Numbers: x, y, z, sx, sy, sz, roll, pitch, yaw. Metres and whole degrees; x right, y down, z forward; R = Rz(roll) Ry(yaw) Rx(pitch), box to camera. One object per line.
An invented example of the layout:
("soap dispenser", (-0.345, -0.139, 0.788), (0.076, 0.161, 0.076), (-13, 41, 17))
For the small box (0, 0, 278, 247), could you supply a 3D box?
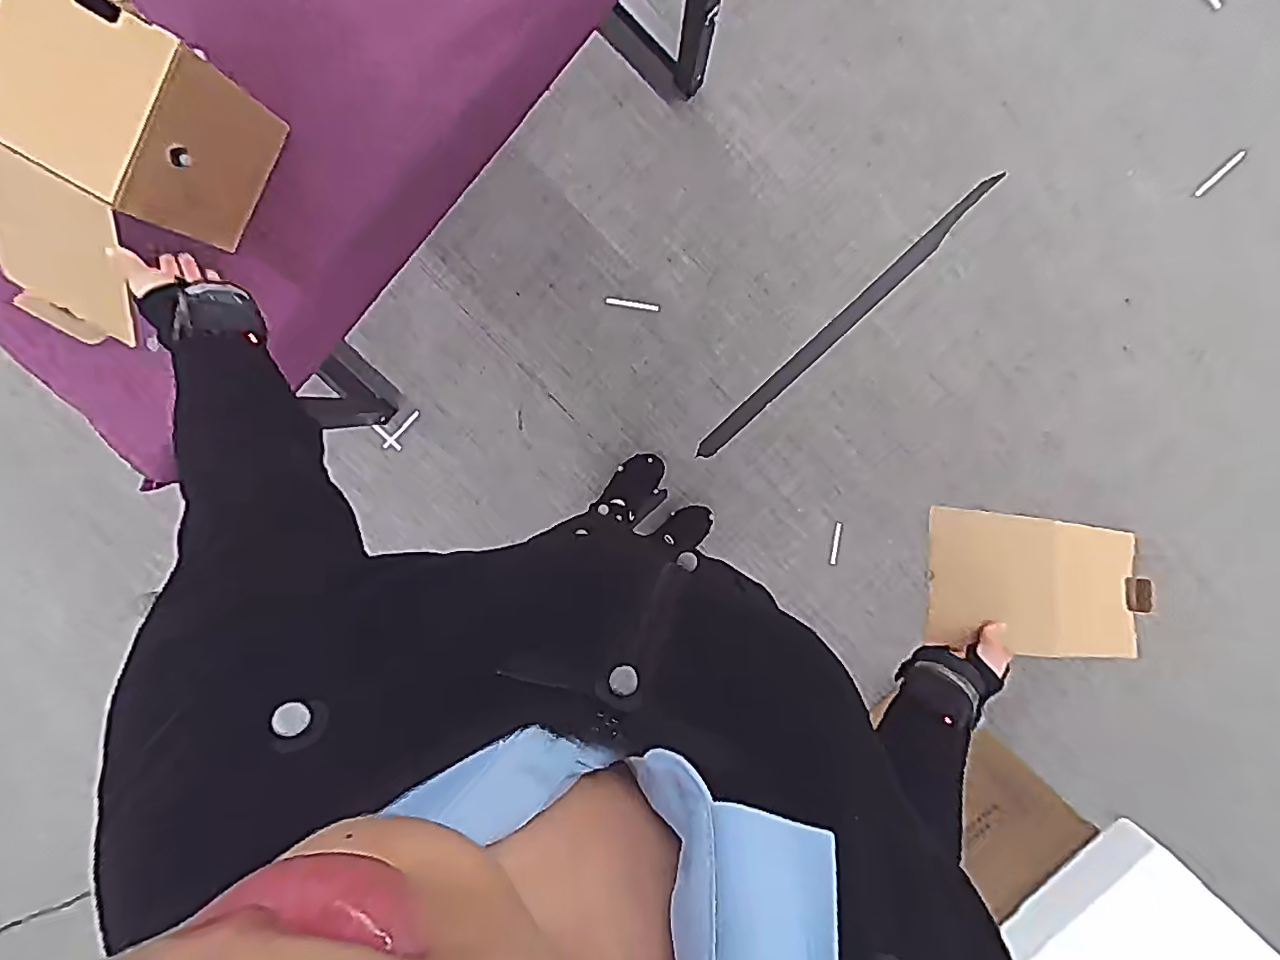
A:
("small box", (-0.546, -0.389, 0.590), (0.168, 0.176, 0.179), (30, 96, -5))
